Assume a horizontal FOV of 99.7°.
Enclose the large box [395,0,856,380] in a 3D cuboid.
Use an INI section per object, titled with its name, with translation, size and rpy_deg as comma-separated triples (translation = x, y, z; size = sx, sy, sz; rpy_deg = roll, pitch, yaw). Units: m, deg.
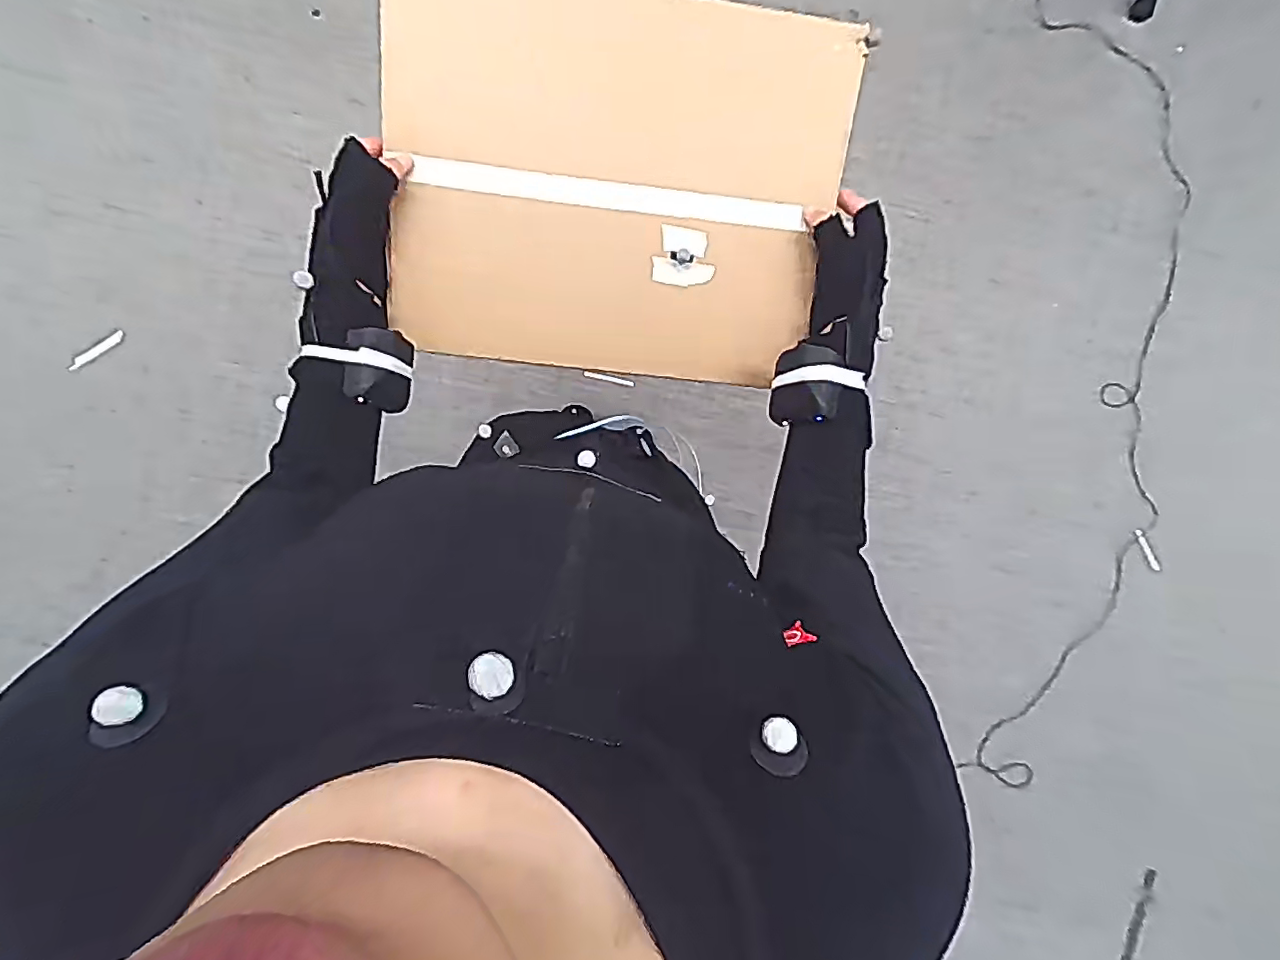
[large box]
translation = -0.030, -0.307, 0.643
size = 0.408, 0.320, 0.320
rpy_deg = 5, 108, -6
